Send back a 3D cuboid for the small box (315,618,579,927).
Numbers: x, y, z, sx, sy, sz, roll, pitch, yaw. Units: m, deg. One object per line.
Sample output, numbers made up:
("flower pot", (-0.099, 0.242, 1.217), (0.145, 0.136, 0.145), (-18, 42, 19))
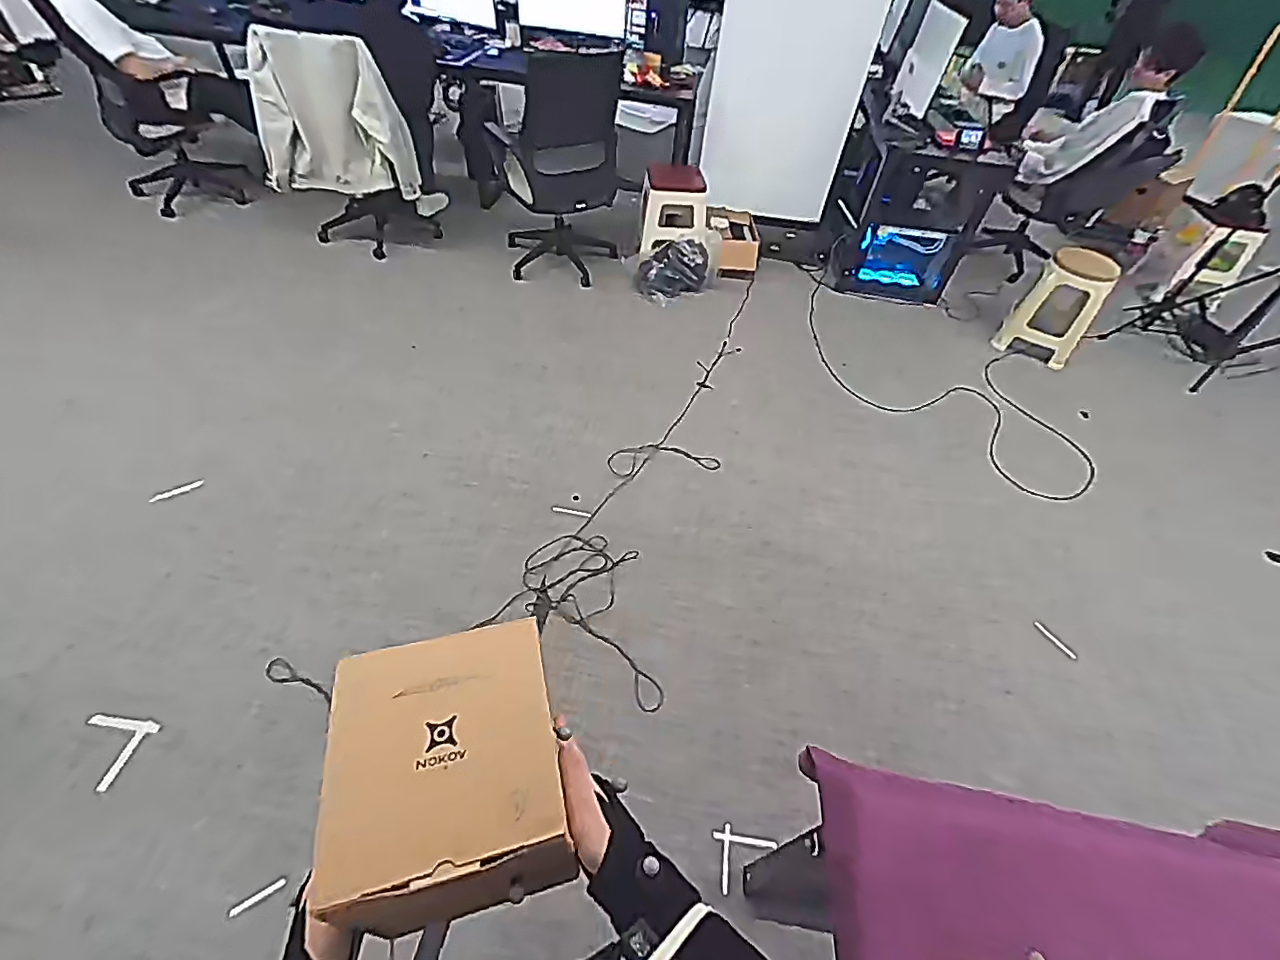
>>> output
("small box", (-0.150, 0.252, 0.465), (0.168, 0.176, 0.179), (-10, 46, -13))
